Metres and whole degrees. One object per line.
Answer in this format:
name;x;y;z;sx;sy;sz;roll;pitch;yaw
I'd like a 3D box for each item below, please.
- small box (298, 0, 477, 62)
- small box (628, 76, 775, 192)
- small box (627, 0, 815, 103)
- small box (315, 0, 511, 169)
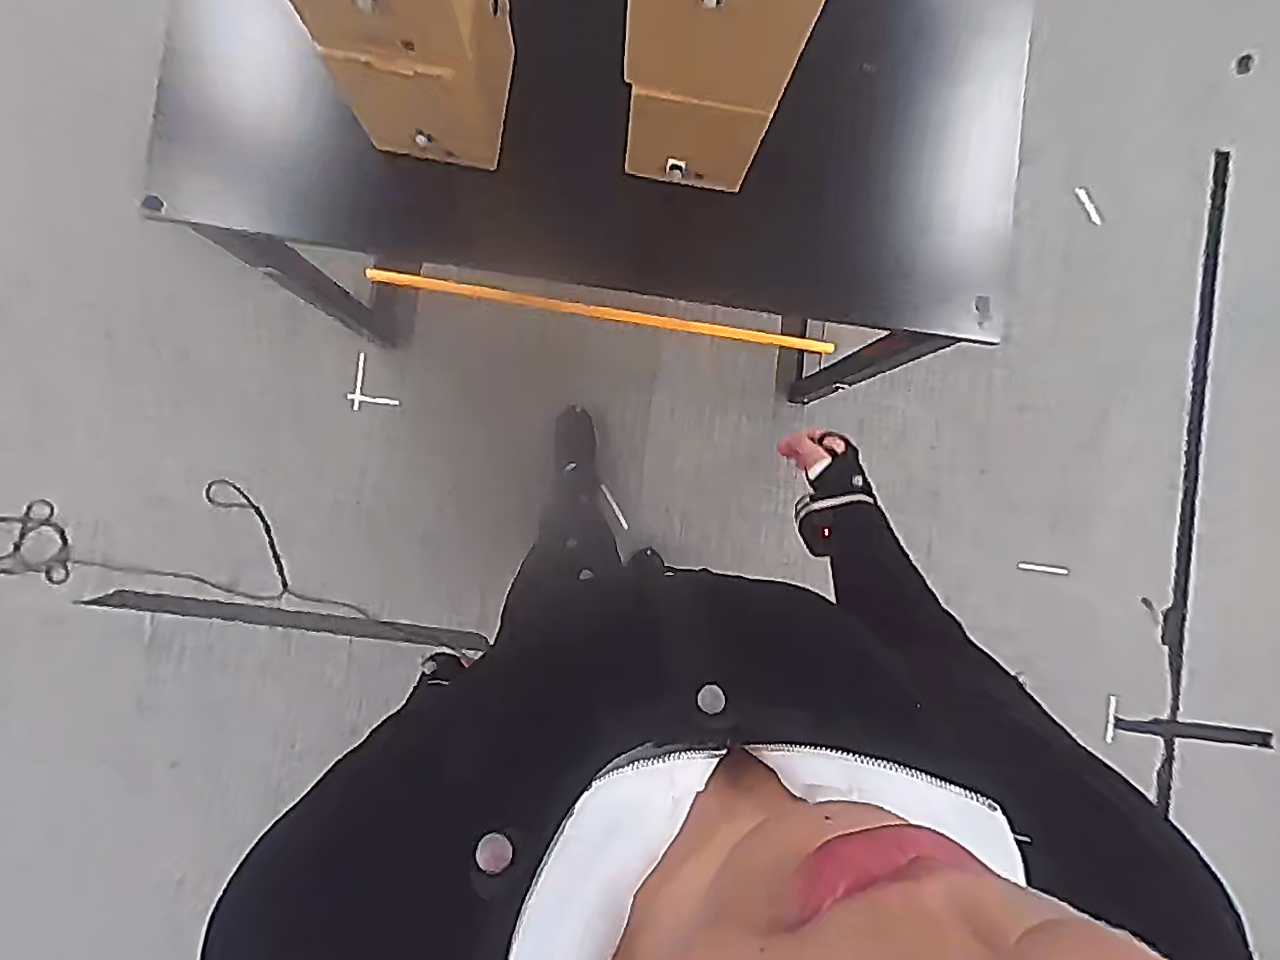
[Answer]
small box;-0.247;-0.540;0.501;0.168;0.176;0.179;6;89;-5
small box;0.075;-0.510;0.696;0.168;0.176;0.179;6;89;-4
small box;0.084;-0.514;0.531;0.179;0.176;0.168;8;88;-4
small box;-0.261;-0.528;0.664;0.168;0.176;0.179;8;88;-5
